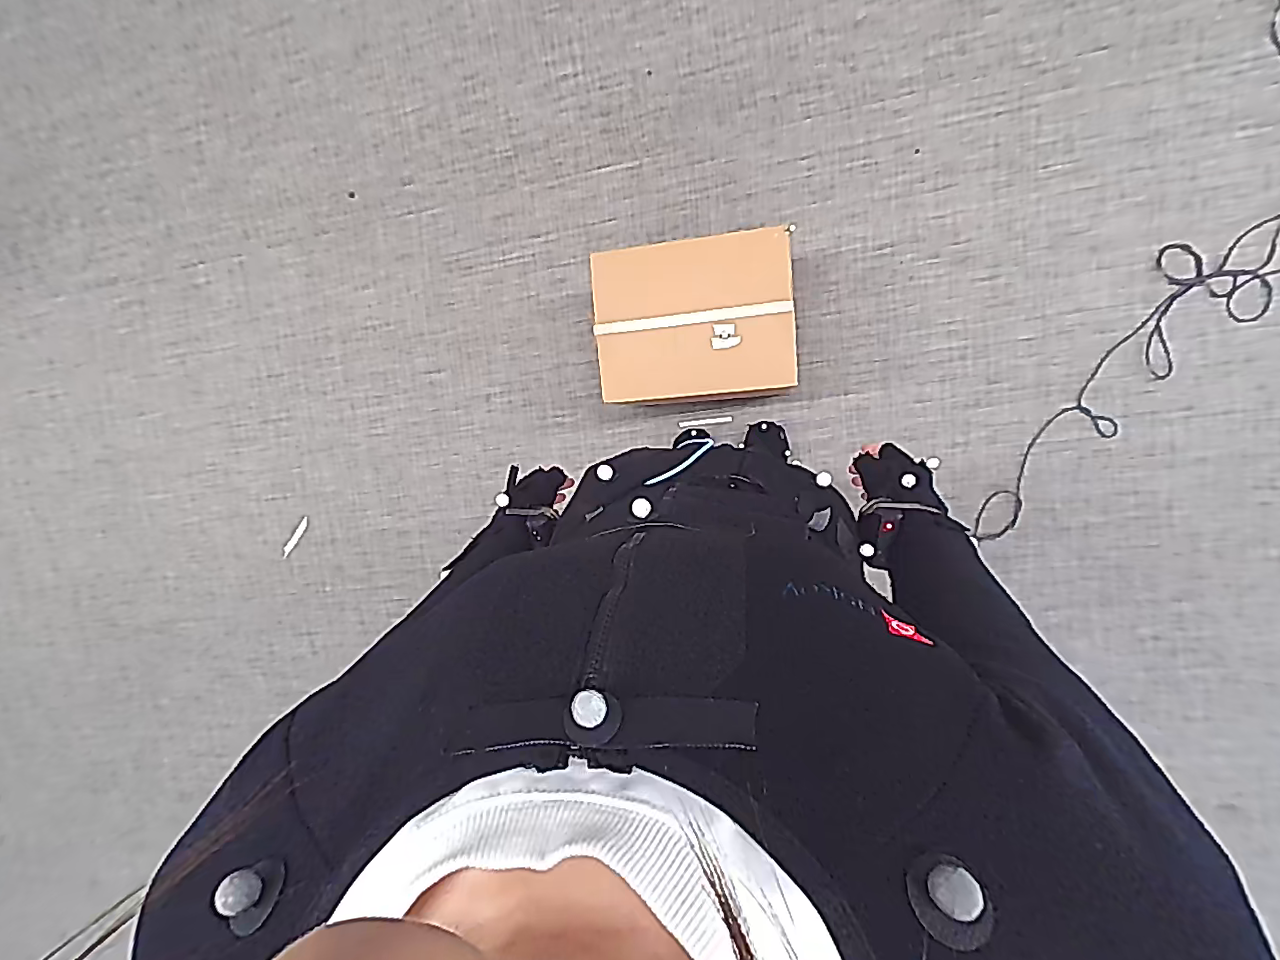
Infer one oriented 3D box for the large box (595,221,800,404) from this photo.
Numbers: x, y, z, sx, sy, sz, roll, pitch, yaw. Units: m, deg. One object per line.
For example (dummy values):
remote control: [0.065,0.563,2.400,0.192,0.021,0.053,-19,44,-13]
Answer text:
large box: [0.138,-0.353,1.248,0.408,0.320,0.320,-4,96,11]
